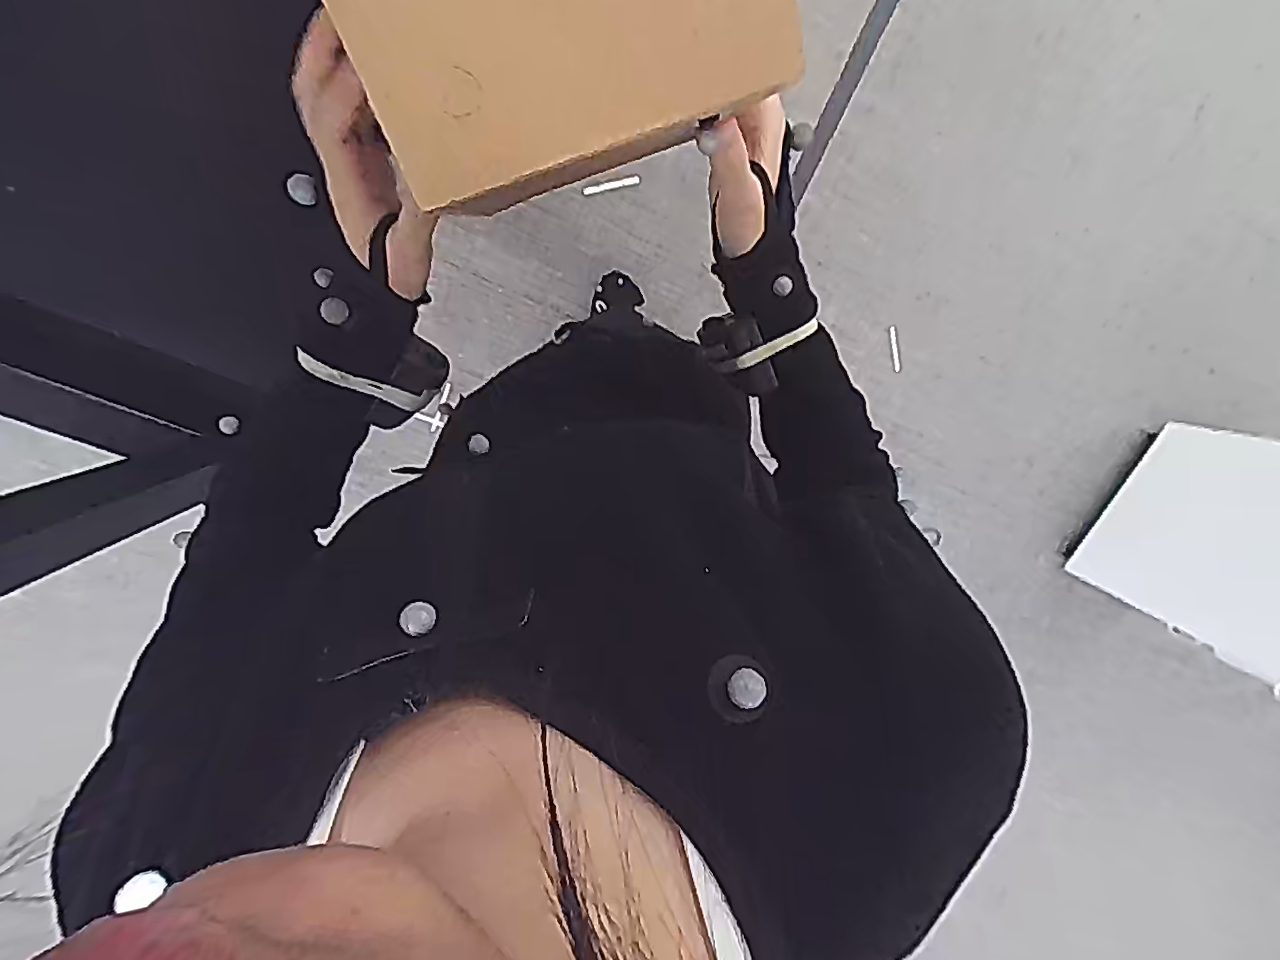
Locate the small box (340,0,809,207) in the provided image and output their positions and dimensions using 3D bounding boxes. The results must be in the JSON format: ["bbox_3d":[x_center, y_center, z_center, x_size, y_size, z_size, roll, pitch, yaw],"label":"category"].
[{"bbox_3d":[-0.045,-0.249,0.267,0.179,0.176,0.168,-21,116,1],"label":"small box"}]
